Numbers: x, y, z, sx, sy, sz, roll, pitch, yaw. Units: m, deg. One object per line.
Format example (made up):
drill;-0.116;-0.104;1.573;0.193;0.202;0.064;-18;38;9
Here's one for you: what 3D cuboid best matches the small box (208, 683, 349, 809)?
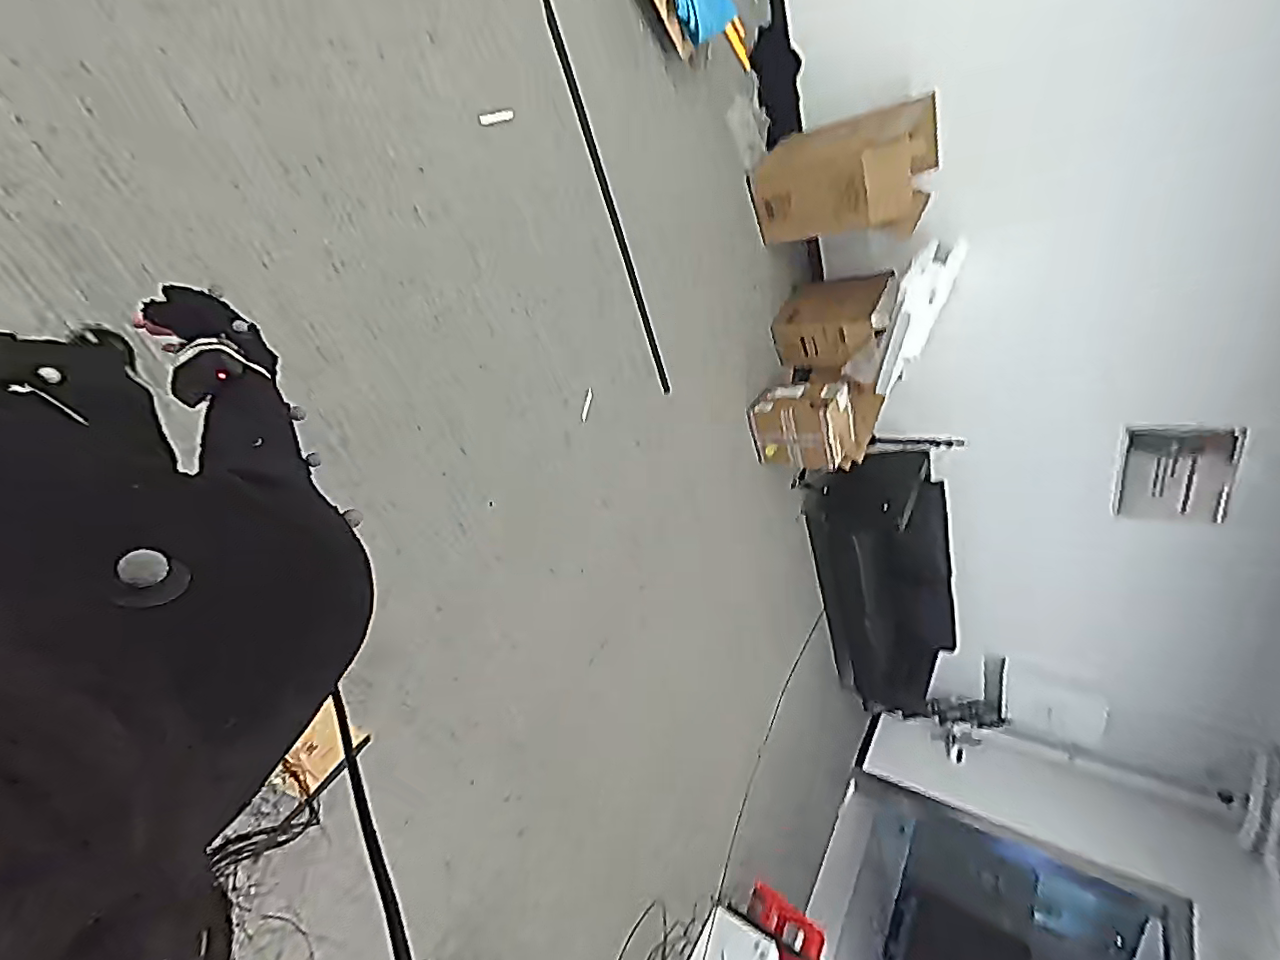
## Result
small box;-0.800;0.576;1.196;0.168;0.176;0.179;-49;132;-35
